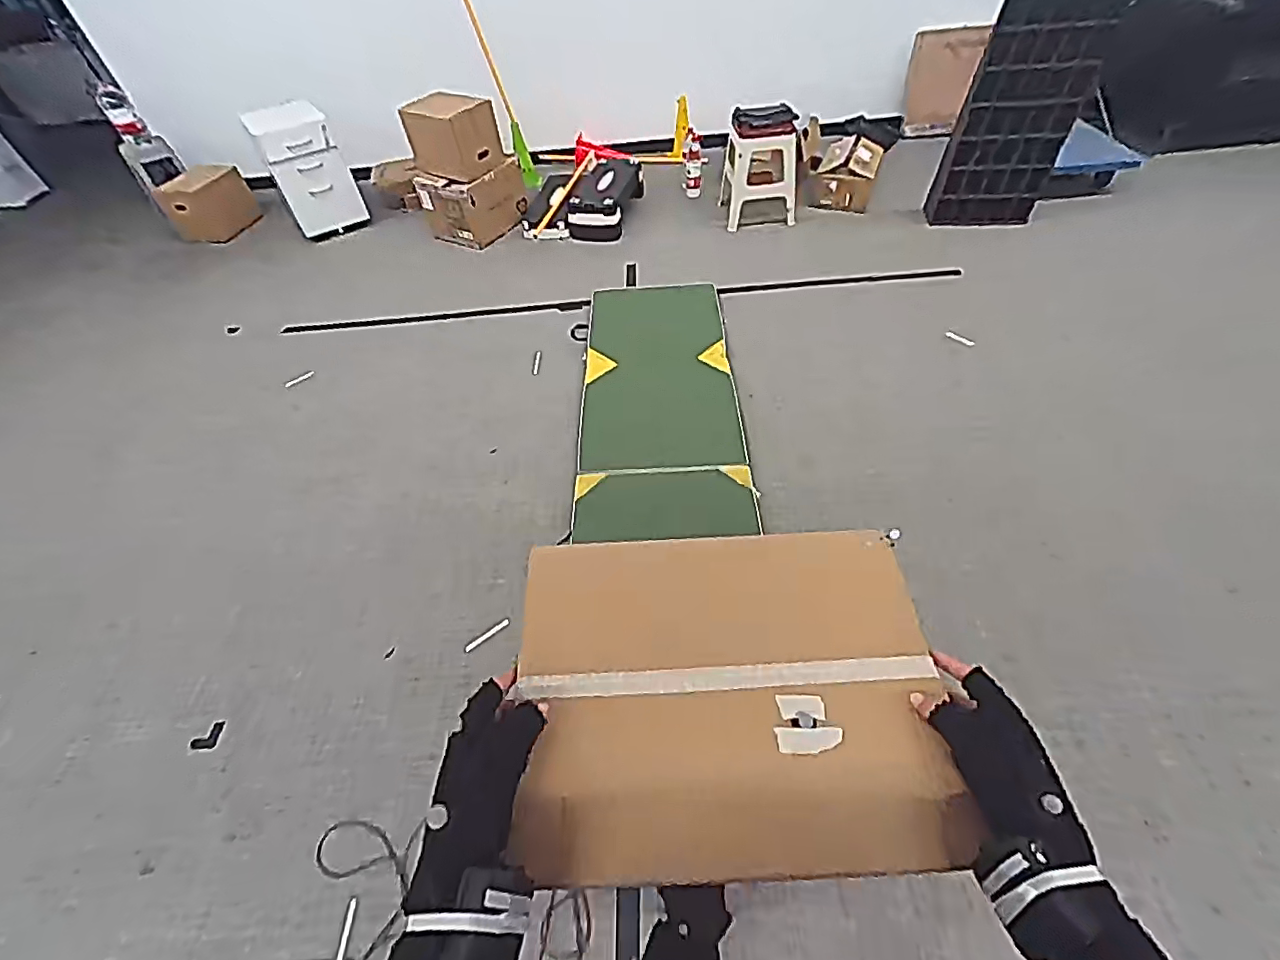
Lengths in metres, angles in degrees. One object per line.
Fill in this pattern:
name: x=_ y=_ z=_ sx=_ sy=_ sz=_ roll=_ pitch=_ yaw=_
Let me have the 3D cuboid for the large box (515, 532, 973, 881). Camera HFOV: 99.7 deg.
large box: x=0.084 y=0.286 z=0.666 sx=0.408 sy=0.320 sz=0.320 roll=-3 pitch=54 yaw=0
